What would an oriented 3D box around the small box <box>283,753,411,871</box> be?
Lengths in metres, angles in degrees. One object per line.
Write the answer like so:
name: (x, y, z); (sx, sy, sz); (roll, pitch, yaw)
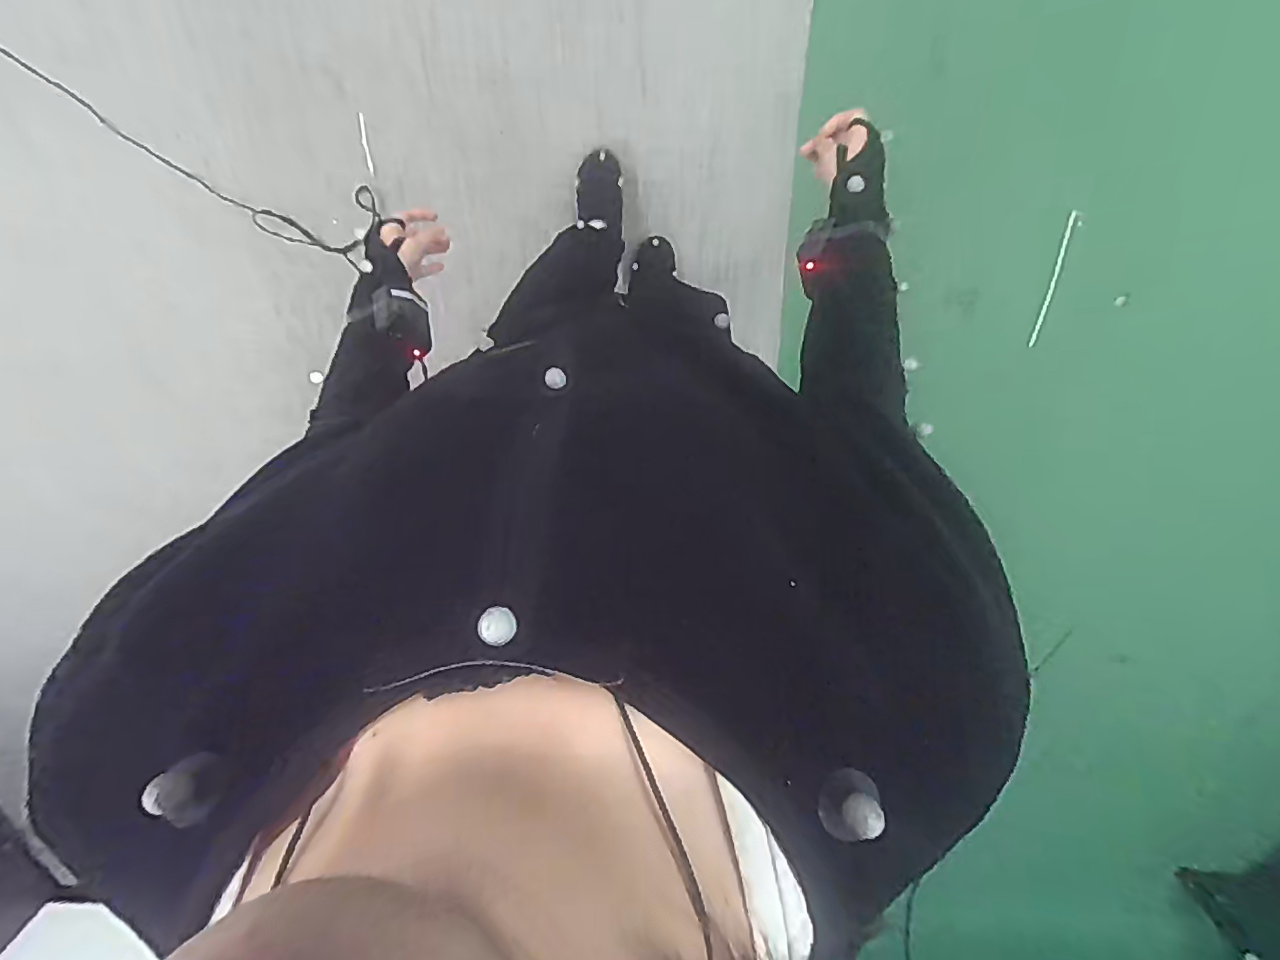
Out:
small box: (-0.660, 0.757, 1.240); (0.179, 0.176, 0.168); (-6, 116, 3)
